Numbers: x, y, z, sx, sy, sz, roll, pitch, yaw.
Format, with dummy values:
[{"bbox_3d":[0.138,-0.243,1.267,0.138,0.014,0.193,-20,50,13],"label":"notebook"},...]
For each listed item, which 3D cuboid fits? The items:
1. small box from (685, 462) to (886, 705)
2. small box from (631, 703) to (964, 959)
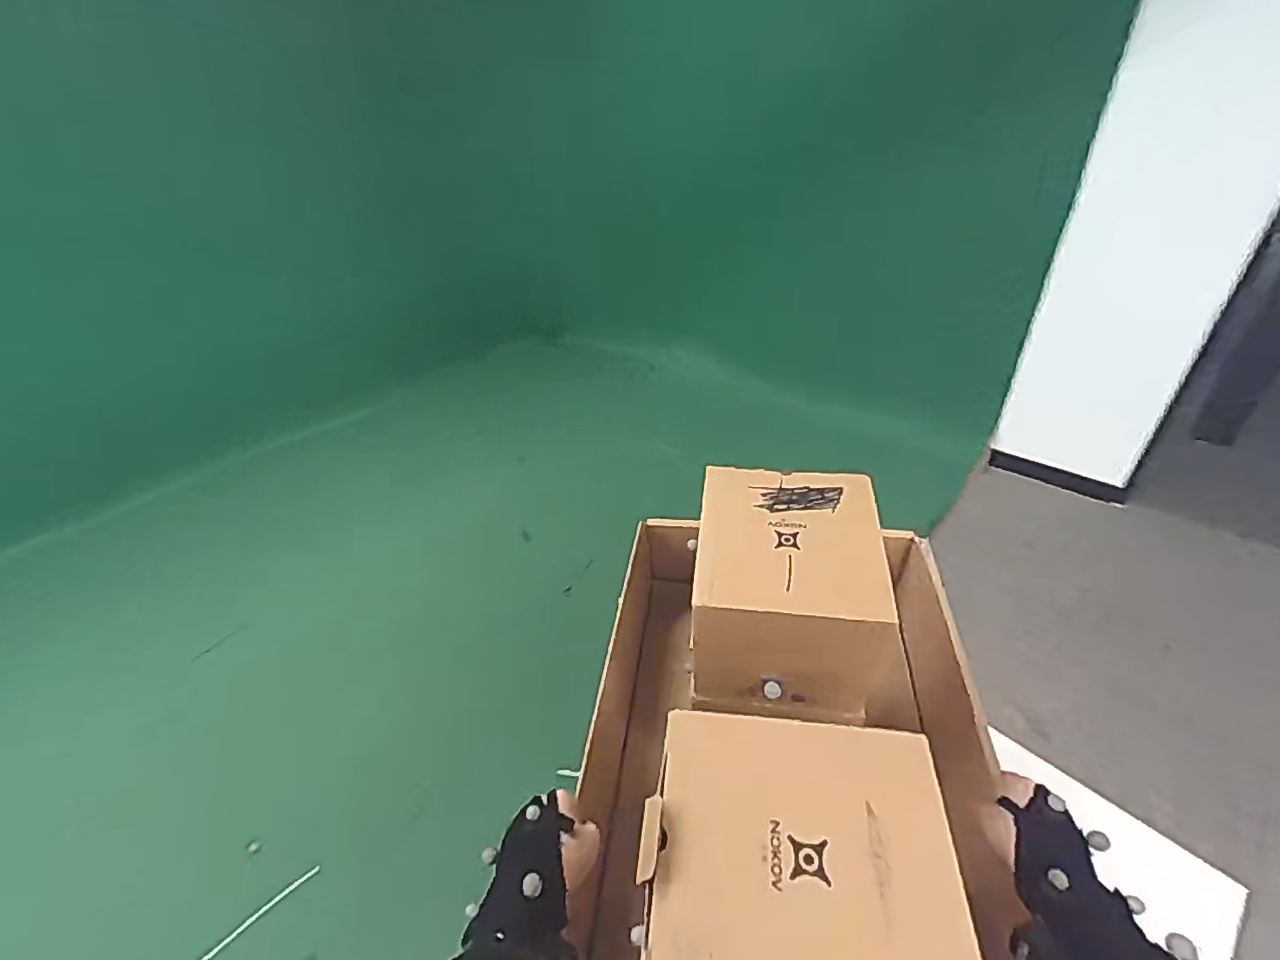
[{"bbox_3d":[0.137,0.104,0.560,0.168,0.176,0.179,3,46,10],"label":"small box"},{"bbox_3d":[0.096,0.280,0.379,0.179,0.176,0.168,2,43,8],"label":"small box"}]
